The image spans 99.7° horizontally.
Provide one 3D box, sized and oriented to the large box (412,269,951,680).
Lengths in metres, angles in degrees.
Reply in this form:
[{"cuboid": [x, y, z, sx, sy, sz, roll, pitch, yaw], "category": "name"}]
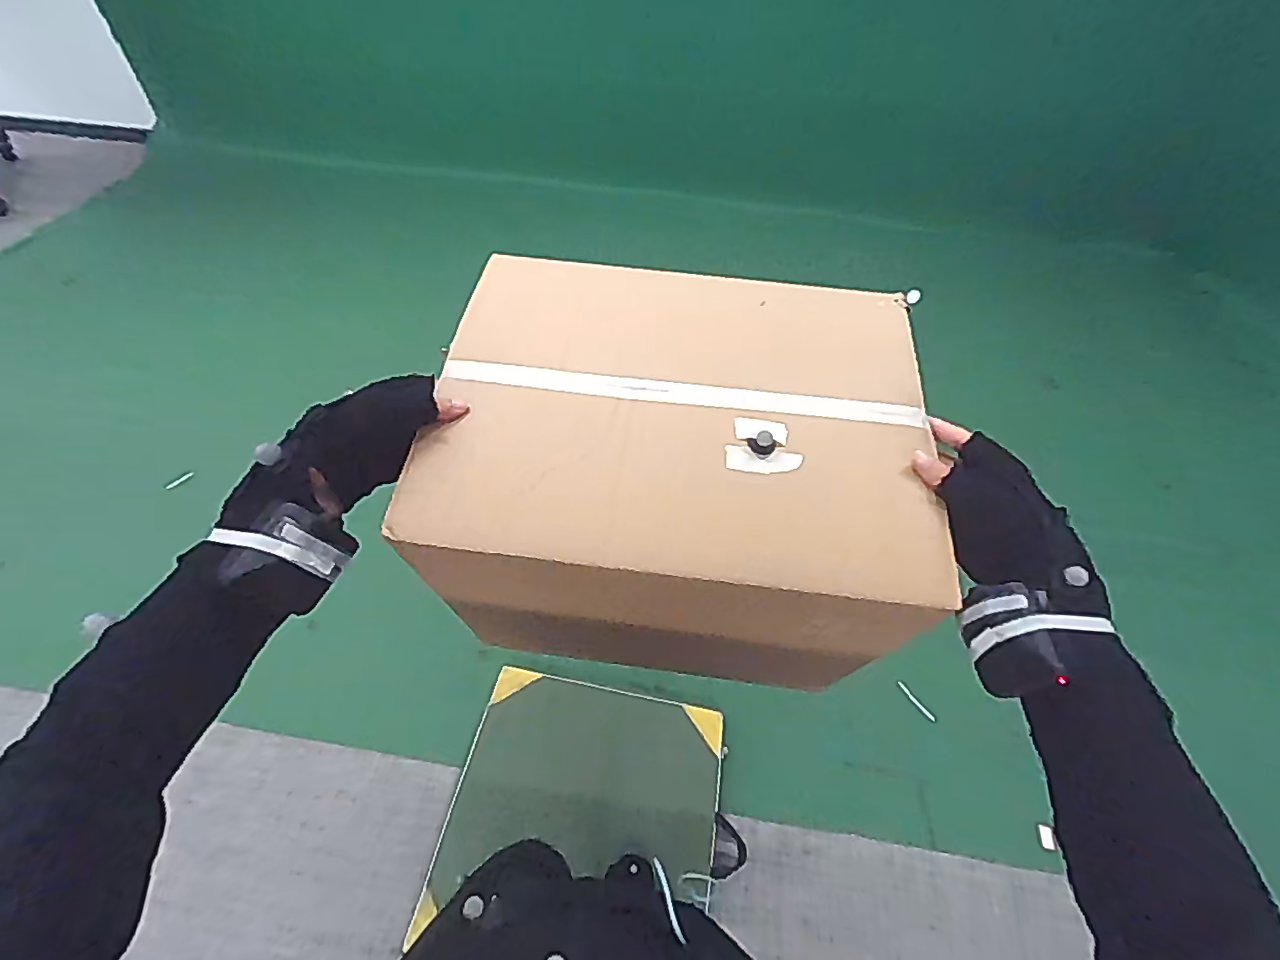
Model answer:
[{"cuboid": [0.036, 0.011, 0.593, 0.408, 0.320, 0.320, 7, 60, 2], "category": "large box"}]
